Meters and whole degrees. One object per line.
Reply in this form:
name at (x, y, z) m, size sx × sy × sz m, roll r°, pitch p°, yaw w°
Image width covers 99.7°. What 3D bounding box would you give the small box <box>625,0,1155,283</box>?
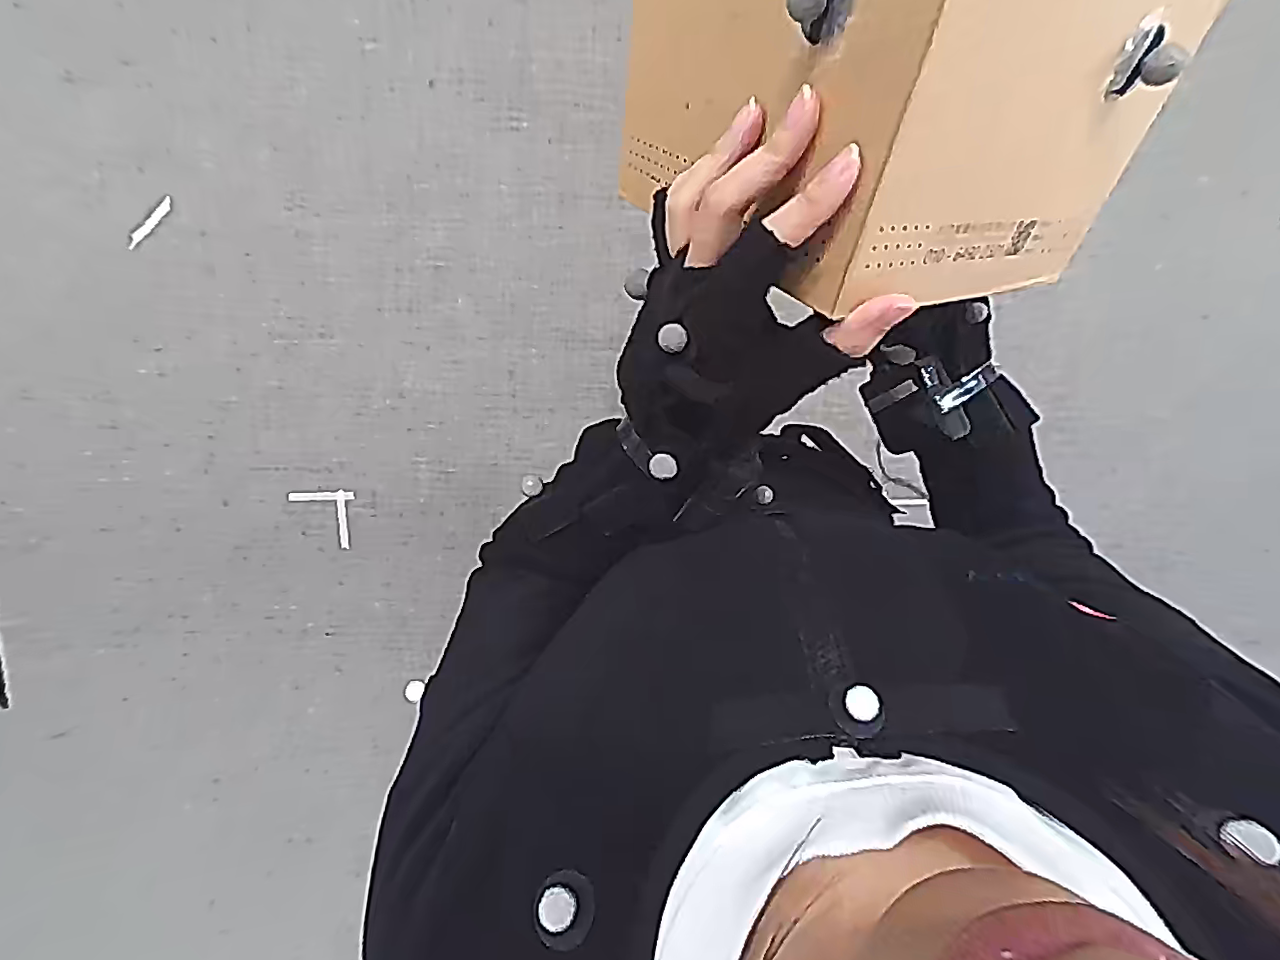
small box at (0.106, -0.204, 0.260) m, size 0.168 × 0.179 × 0.176 m, roll -15°, pitch 134°, yaw -26°
